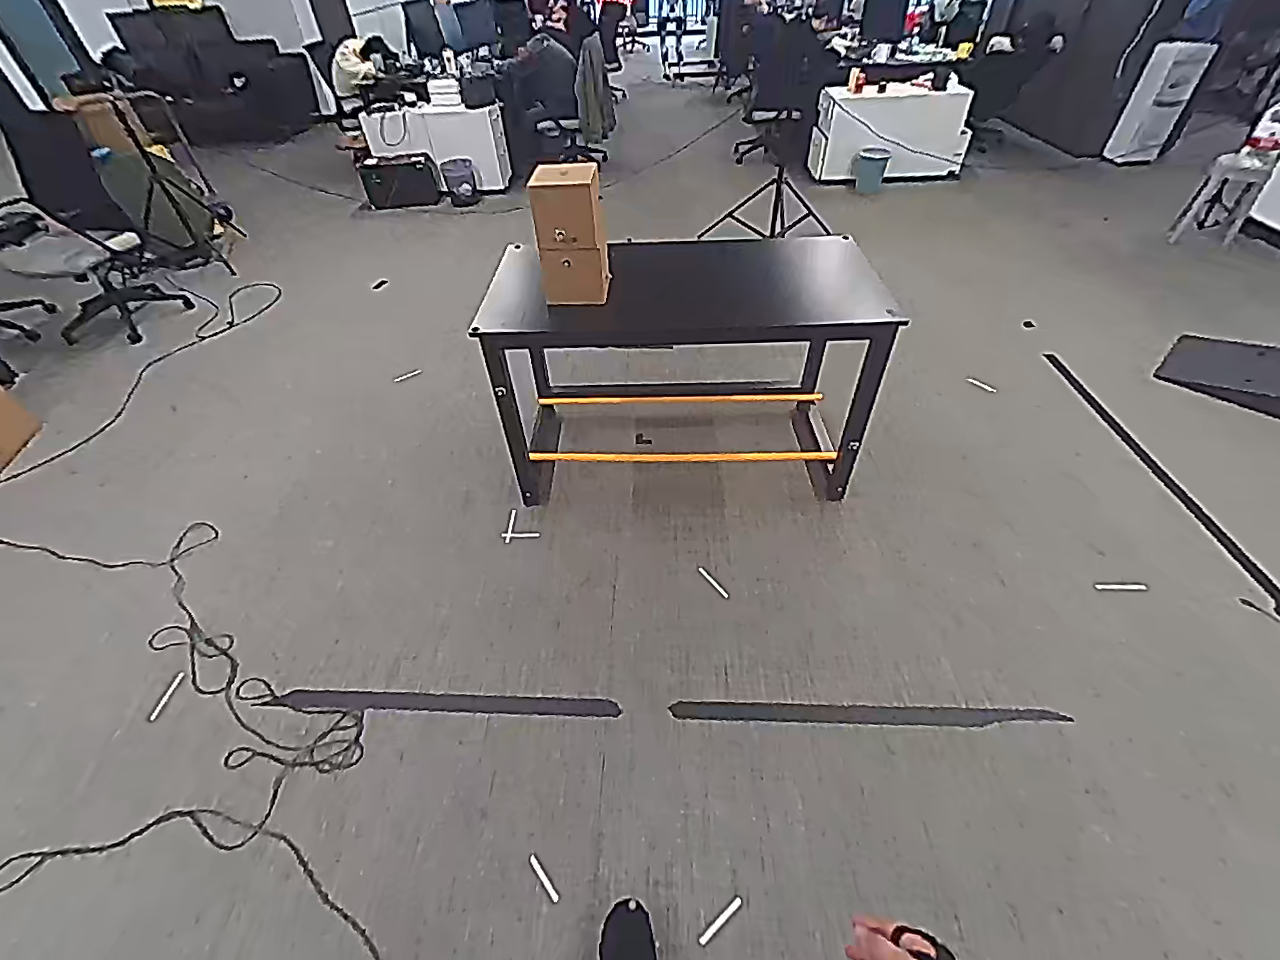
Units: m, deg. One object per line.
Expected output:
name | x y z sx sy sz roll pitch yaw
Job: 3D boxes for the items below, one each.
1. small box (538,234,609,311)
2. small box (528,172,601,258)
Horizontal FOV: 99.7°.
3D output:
small box | -0.192 -0.618 1.611 0.179 0.176 0.168 1 45 3
small box | -0.200 -0.733 1.496 0.168 0.176 0.179 -2 45 3
